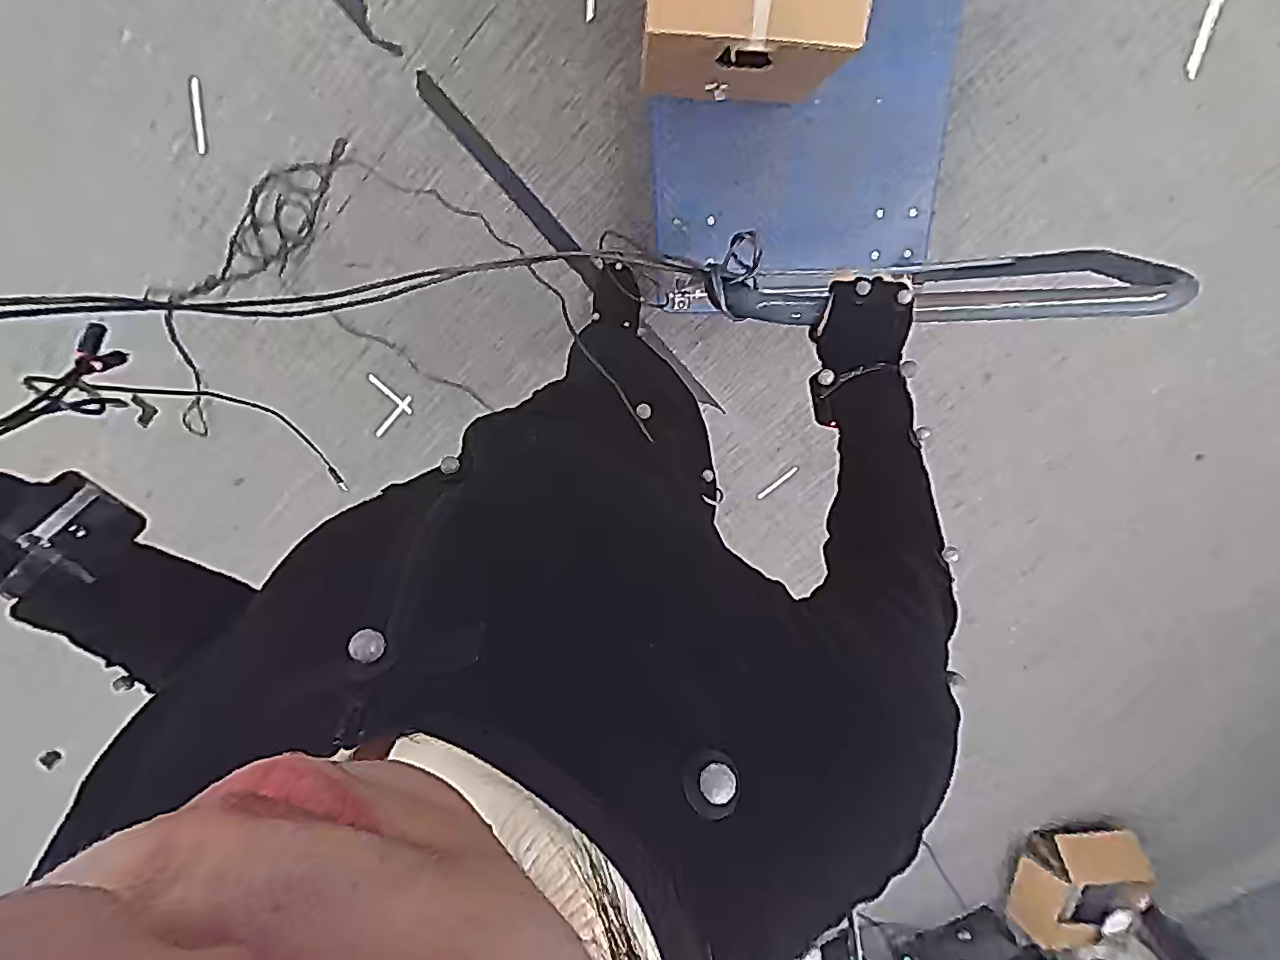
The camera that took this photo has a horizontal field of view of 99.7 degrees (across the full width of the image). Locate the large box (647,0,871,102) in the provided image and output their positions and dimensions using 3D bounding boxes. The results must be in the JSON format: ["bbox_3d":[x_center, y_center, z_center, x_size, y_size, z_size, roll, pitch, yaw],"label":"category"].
[{"bbox_3d":[0.172,-0.858,0.828,0.320,0.320,0.408,3,112,-3],"label":"large box"}]
